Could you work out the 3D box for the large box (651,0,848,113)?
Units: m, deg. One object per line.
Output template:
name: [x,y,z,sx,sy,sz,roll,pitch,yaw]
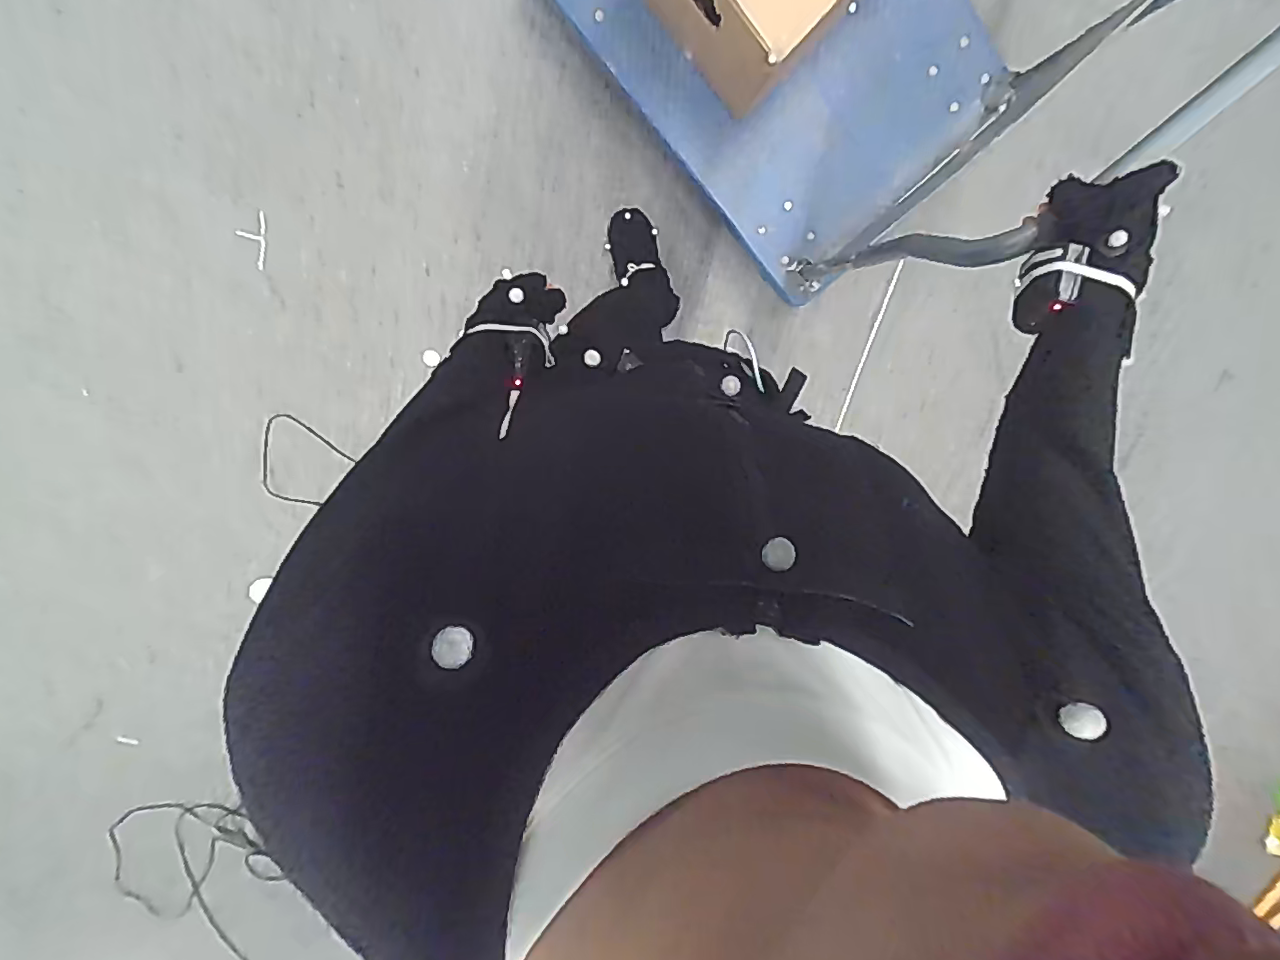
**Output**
large box: [0.240,-0.906,0.856,0.320,0.320,0.408,43,105,-13]
